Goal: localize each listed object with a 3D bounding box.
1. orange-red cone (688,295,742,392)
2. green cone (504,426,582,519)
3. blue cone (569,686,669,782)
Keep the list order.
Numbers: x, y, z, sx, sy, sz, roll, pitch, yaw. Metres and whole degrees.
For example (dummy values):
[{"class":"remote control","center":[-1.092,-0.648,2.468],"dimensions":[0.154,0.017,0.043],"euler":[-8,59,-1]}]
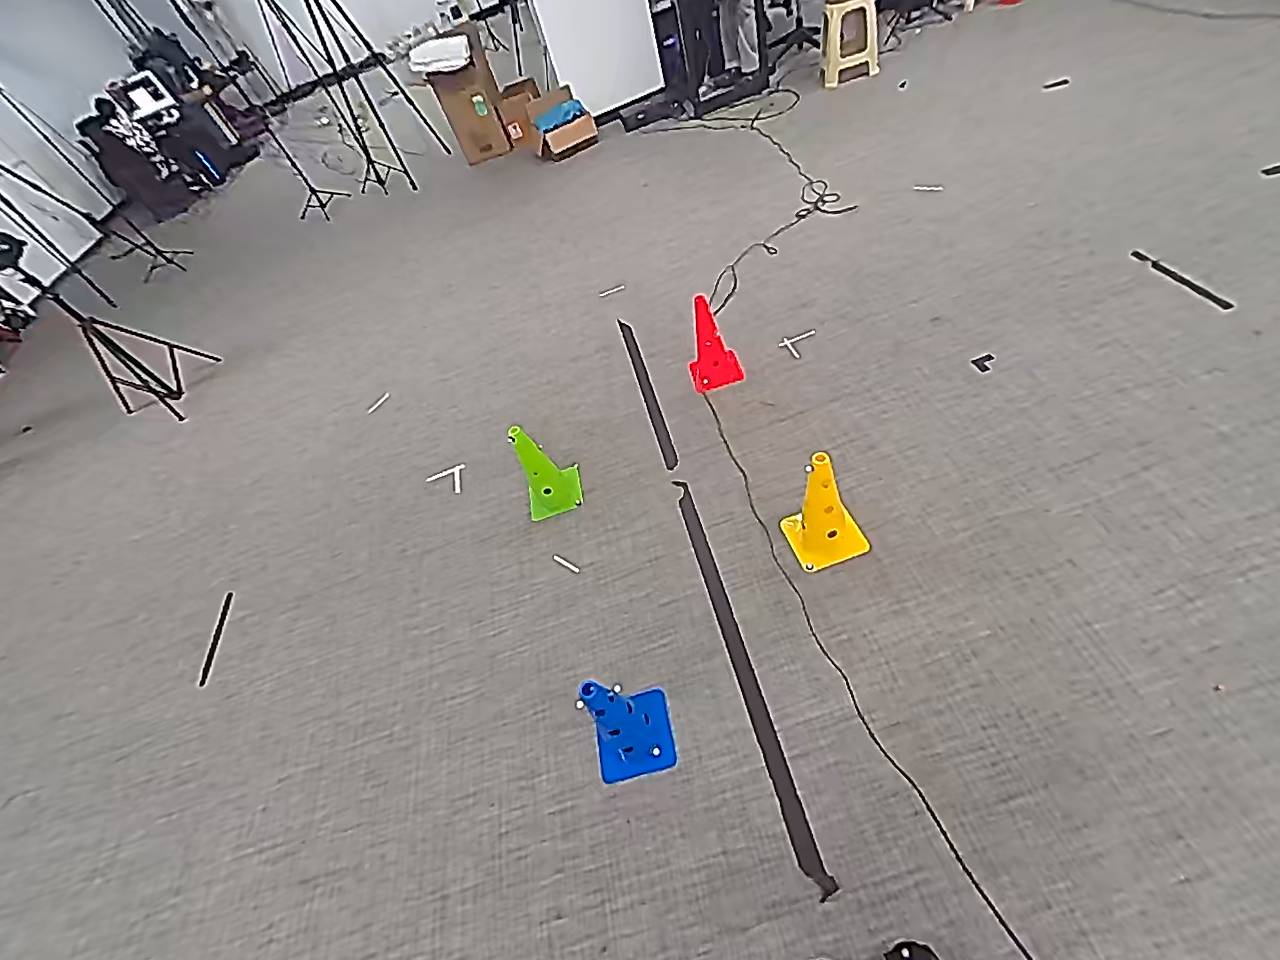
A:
[{"class":"orange-red cone","center":[0.259,-0.547,2.069],"dimensions":[0.199,0.360,0.198],"euler":[-15,50,6]},{"class":"green cone","center":[-0.369,-0.060,1.892],"dimensions":[0.202,0.368,0.200],"euler":[-20,48,5]},{"class":"blue cone","center":[-0.071,0.565,1.286],"dimensions":[0.192,0.380,0.193],"euler":[-17,48,7]}]
